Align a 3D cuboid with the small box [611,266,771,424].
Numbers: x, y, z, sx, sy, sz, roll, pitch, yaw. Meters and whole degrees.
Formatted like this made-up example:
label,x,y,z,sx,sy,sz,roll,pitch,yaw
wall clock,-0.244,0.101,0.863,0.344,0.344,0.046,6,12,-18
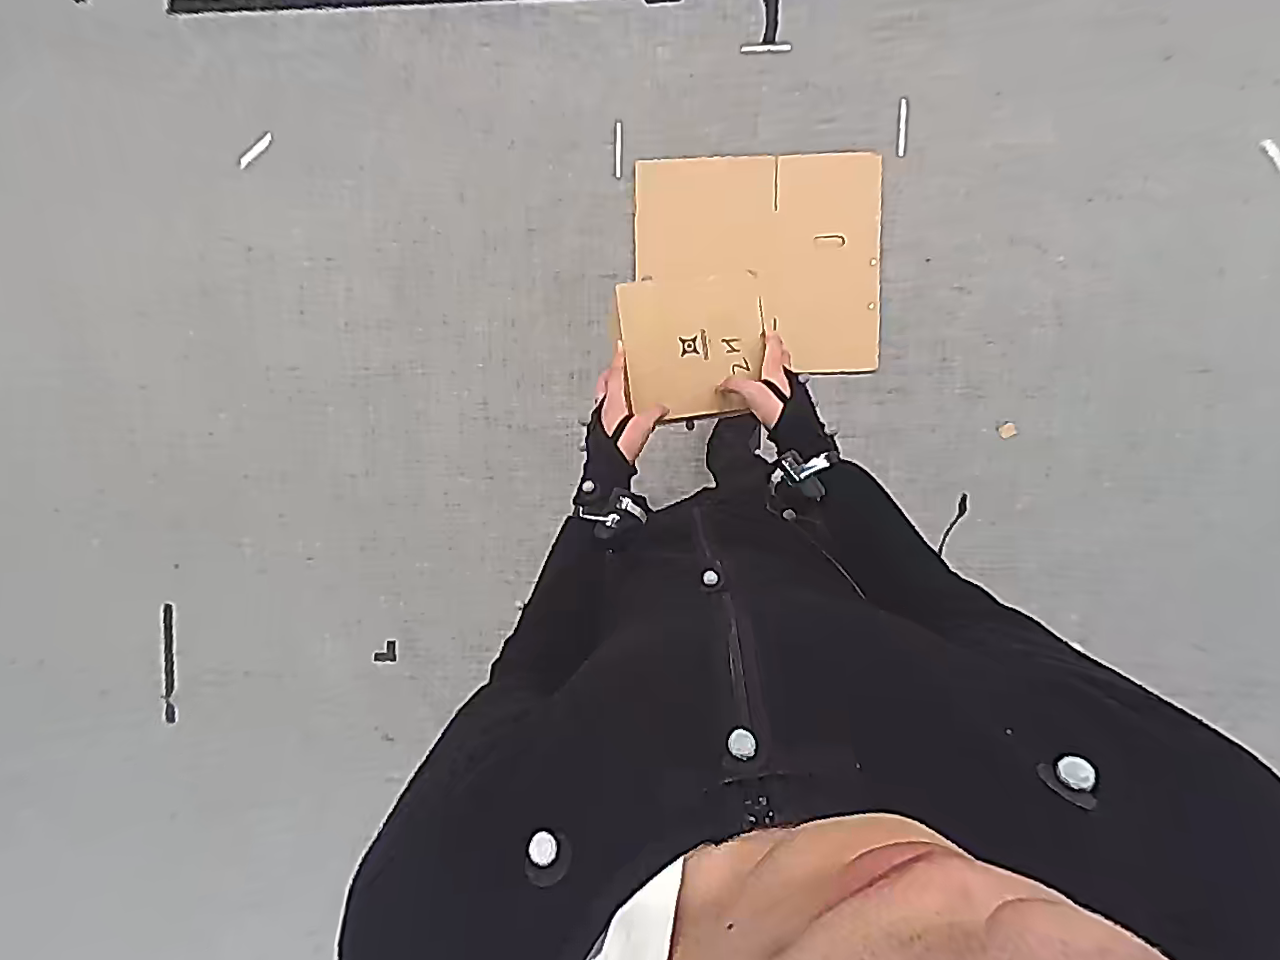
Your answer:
label,x,y,z,sx,sy,sz,roll,pitch,yaw
small box,0.056,-0.169,0.720,0.179,0.176,0.168,-8,94,-6
